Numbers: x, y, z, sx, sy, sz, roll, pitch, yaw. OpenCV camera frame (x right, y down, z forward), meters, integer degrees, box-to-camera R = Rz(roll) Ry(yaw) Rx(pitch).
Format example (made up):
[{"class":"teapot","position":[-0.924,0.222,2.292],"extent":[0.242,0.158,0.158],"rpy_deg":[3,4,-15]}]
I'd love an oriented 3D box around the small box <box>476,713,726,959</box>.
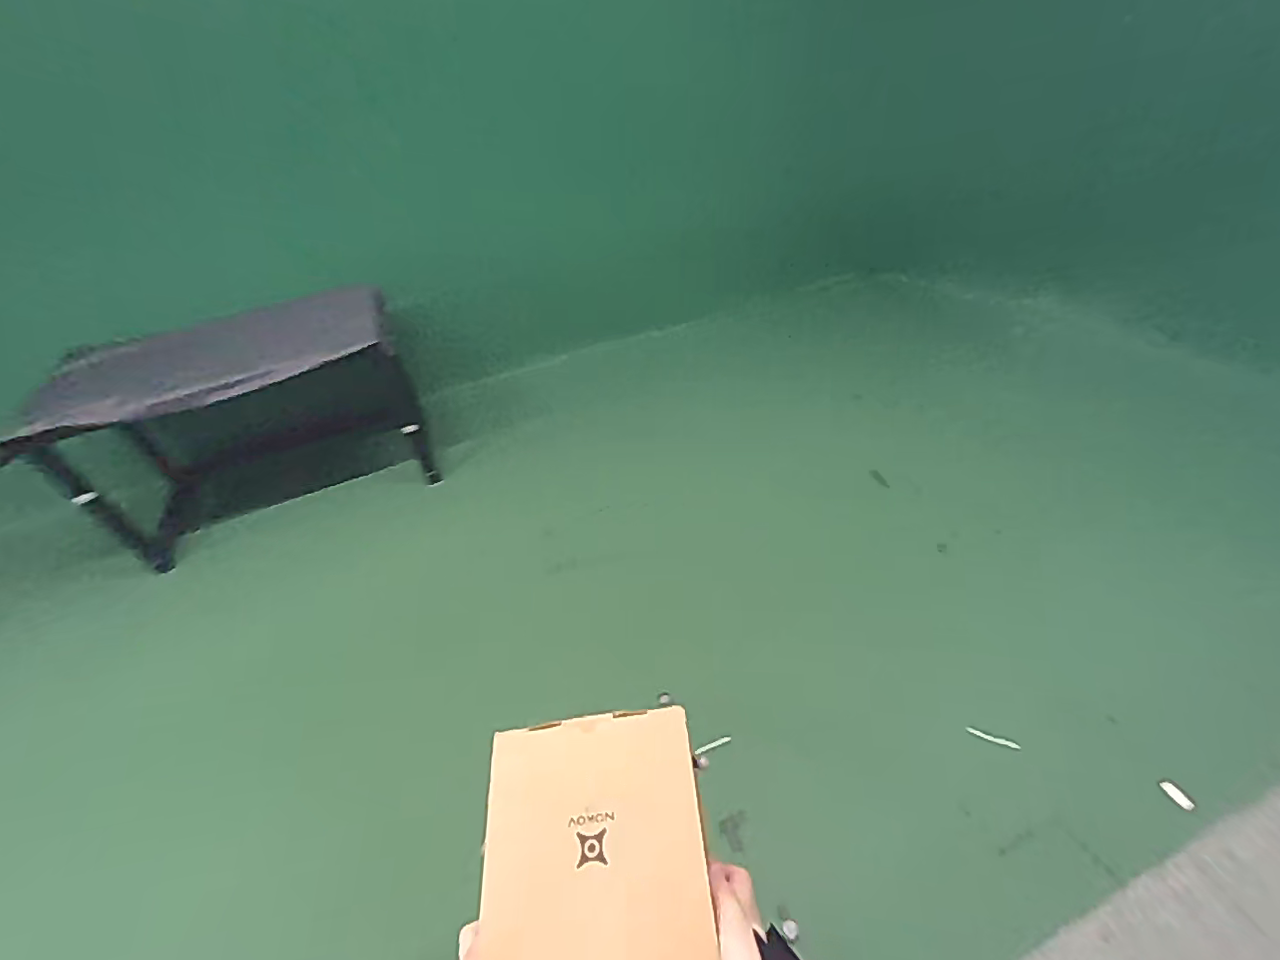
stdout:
[{"class":"small box","position":[-0.023,0.321,0.456],"extent":[0.168,0.176,0.179],"rpy_deg":[-9,49,2]}]
